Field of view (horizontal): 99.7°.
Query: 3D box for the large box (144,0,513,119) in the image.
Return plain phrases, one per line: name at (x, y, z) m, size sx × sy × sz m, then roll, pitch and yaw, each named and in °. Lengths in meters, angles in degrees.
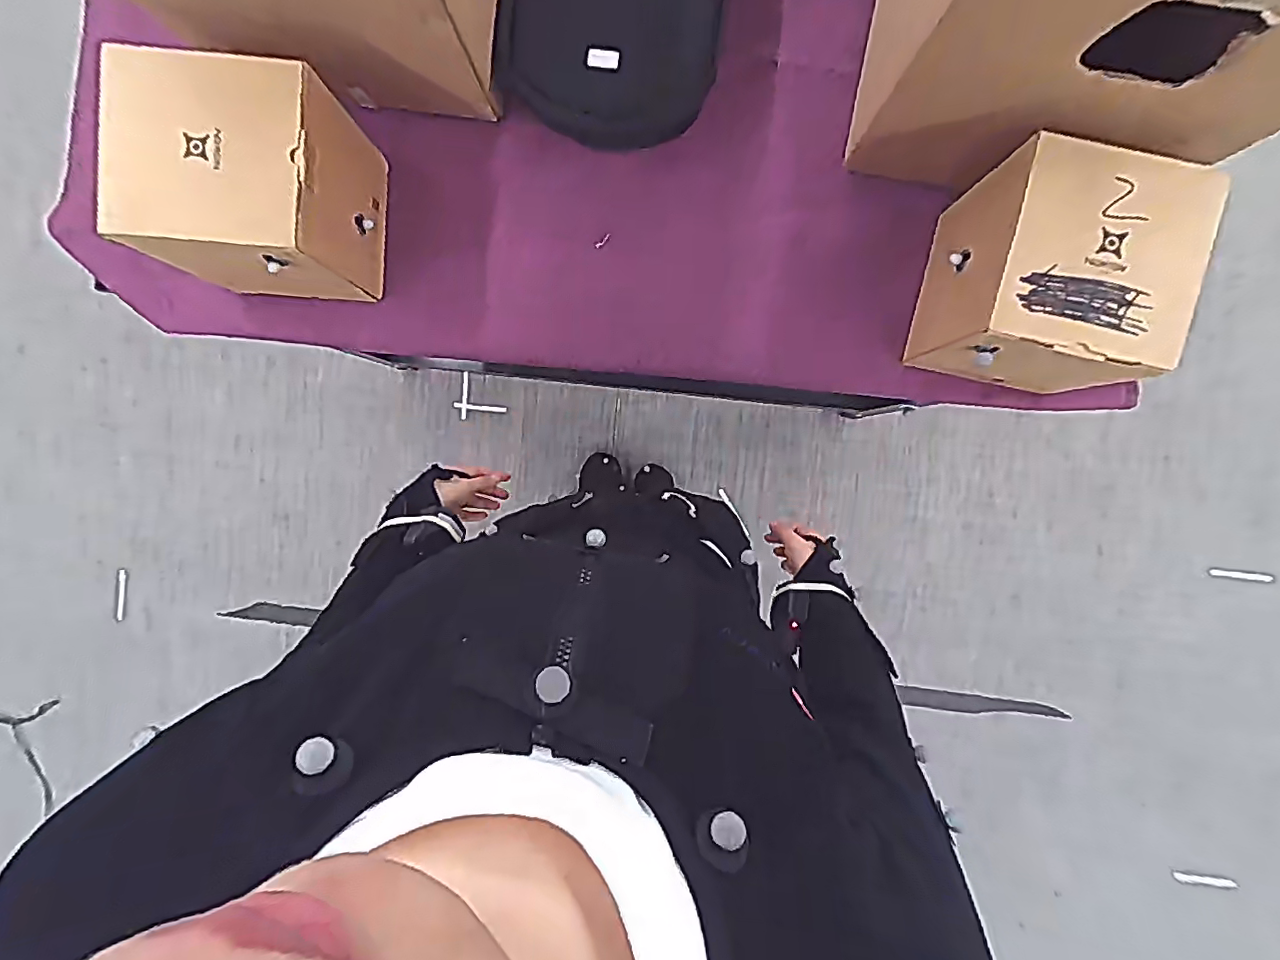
large box at (-0.293, -0.623, 0.475) m, size 0.320 × 0.320 × 0.408 m, roll 6°, pitch 96°, yaw 1°
